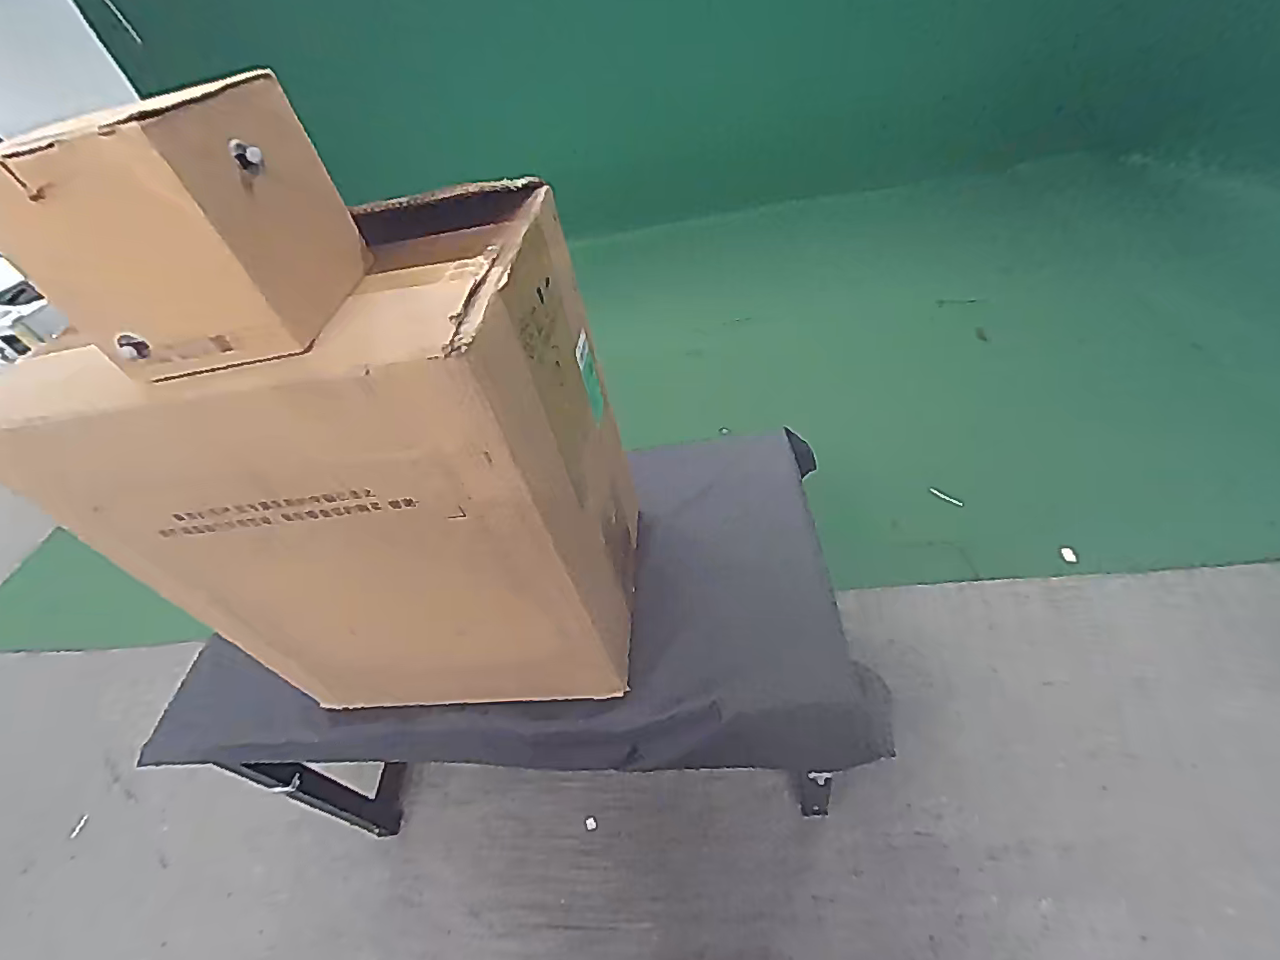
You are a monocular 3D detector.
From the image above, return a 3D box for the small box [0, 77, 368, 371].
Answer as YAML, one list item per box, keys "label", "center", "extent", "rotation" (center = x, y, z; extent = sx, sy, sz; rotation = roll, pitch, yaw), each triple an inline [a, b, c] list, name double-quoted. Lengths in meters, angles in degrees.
- label: "small box"
  center: [-0.369, -0.207, 0.460]
  extent: [0.168, 0.176, 0.179]
  rotation: [-8, 44, 8]
